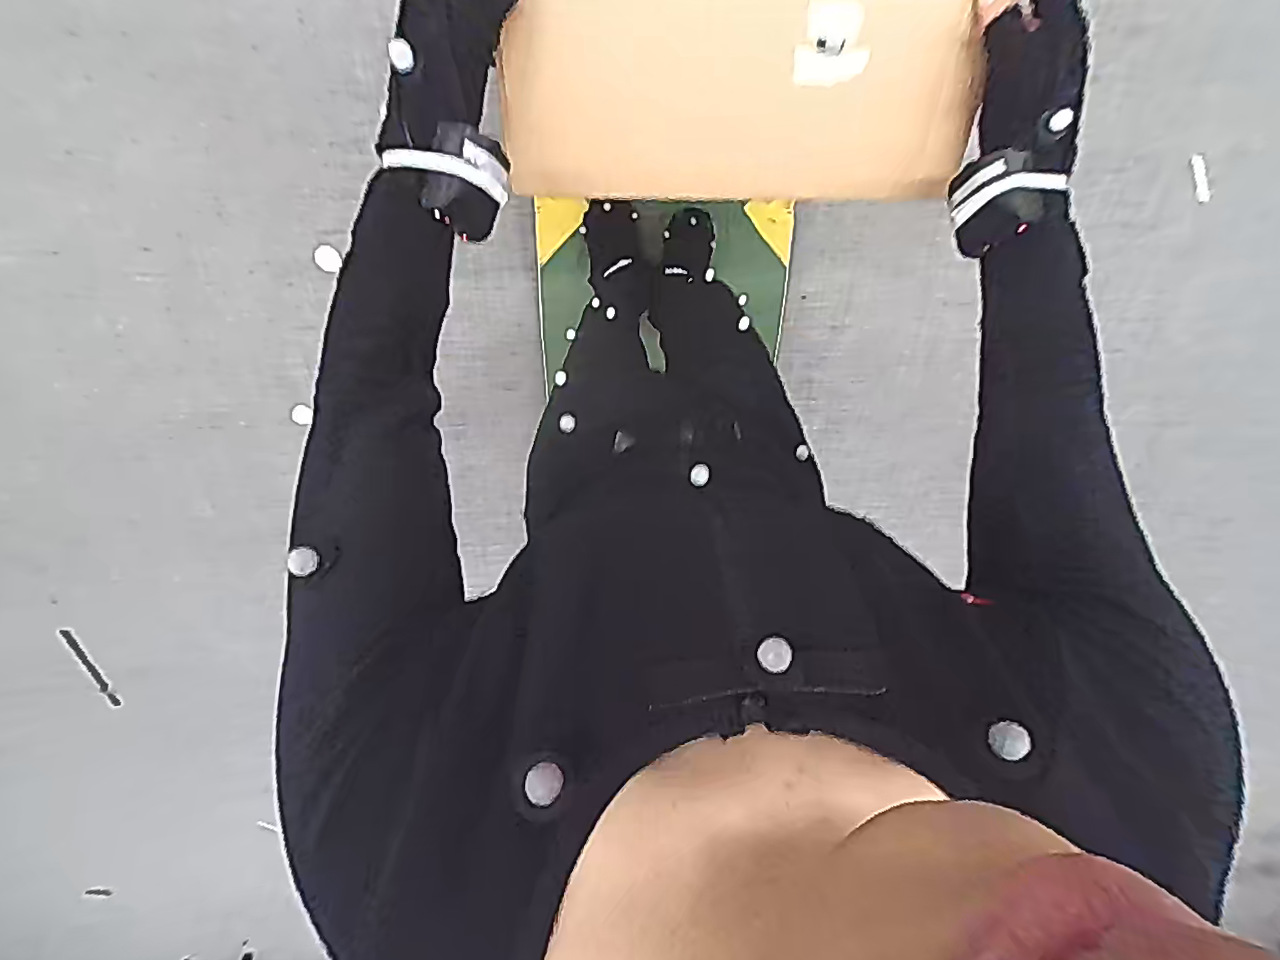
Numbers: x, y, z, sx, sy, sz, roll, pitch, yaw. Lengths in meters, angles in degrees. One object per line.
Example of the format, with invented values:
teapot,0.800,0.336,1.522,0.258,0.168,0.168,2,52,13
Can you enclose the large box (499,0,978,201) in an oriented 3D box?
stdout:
large box,0.074,-0.481,0.560,0.408,0.320,0.320,-1,124,-3
